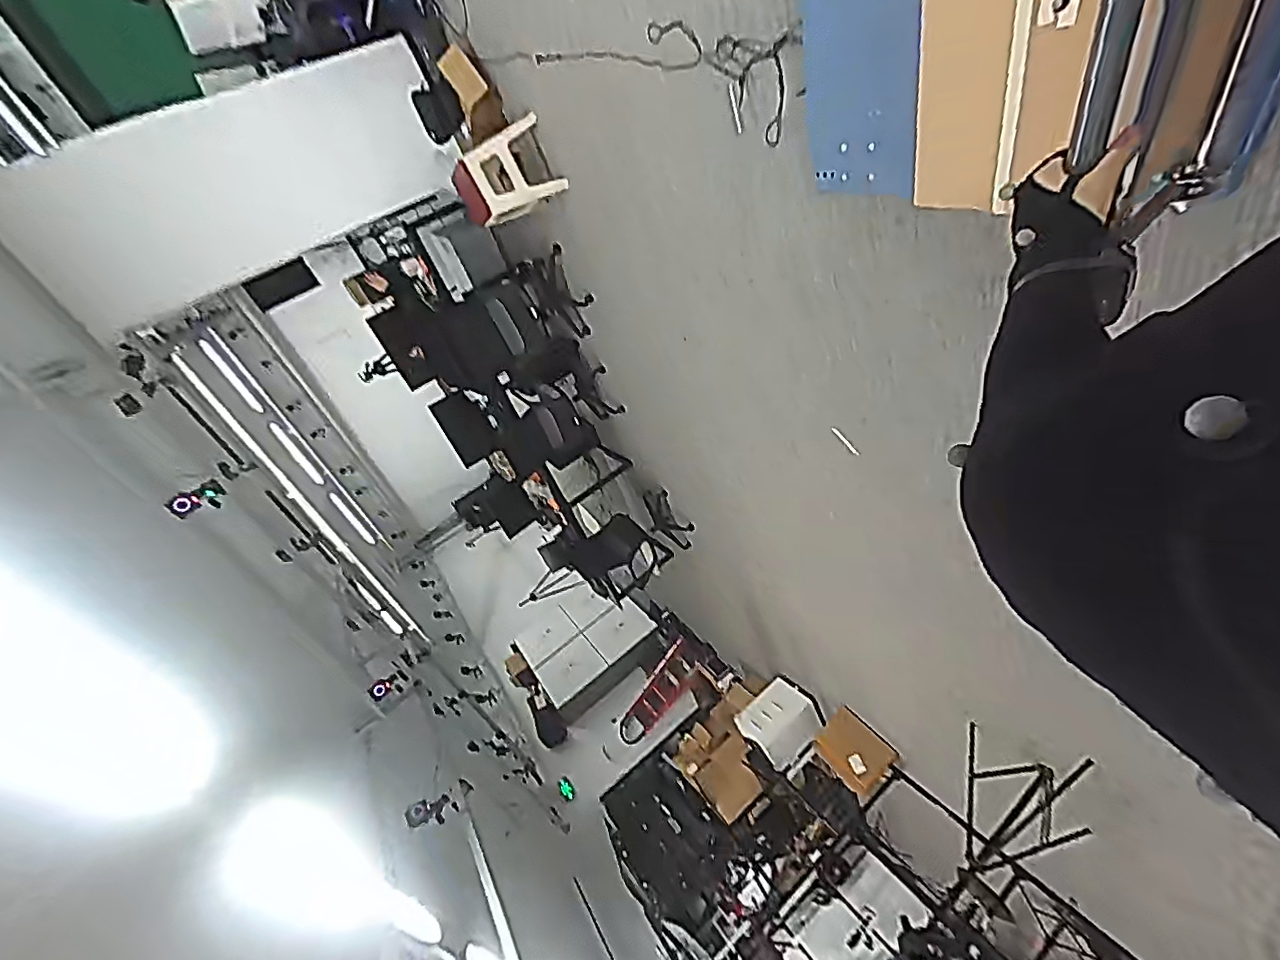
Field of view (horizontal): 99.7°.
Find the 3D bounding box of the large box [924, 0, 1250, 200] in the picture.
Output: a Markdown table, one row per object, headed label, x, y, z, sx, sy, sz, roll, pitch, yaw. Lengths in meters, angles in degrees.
| label | x | y | z | sx | sy | sz | roll | pitch | yaw |
| --- | --- | --- | --- | --- | --- | --- | --- | --- | --- |
| large box | 0.683 | -0.697 | 0.835 | 0.320 | 0.320 | 0.408 | 33 | 152 | 46 |
